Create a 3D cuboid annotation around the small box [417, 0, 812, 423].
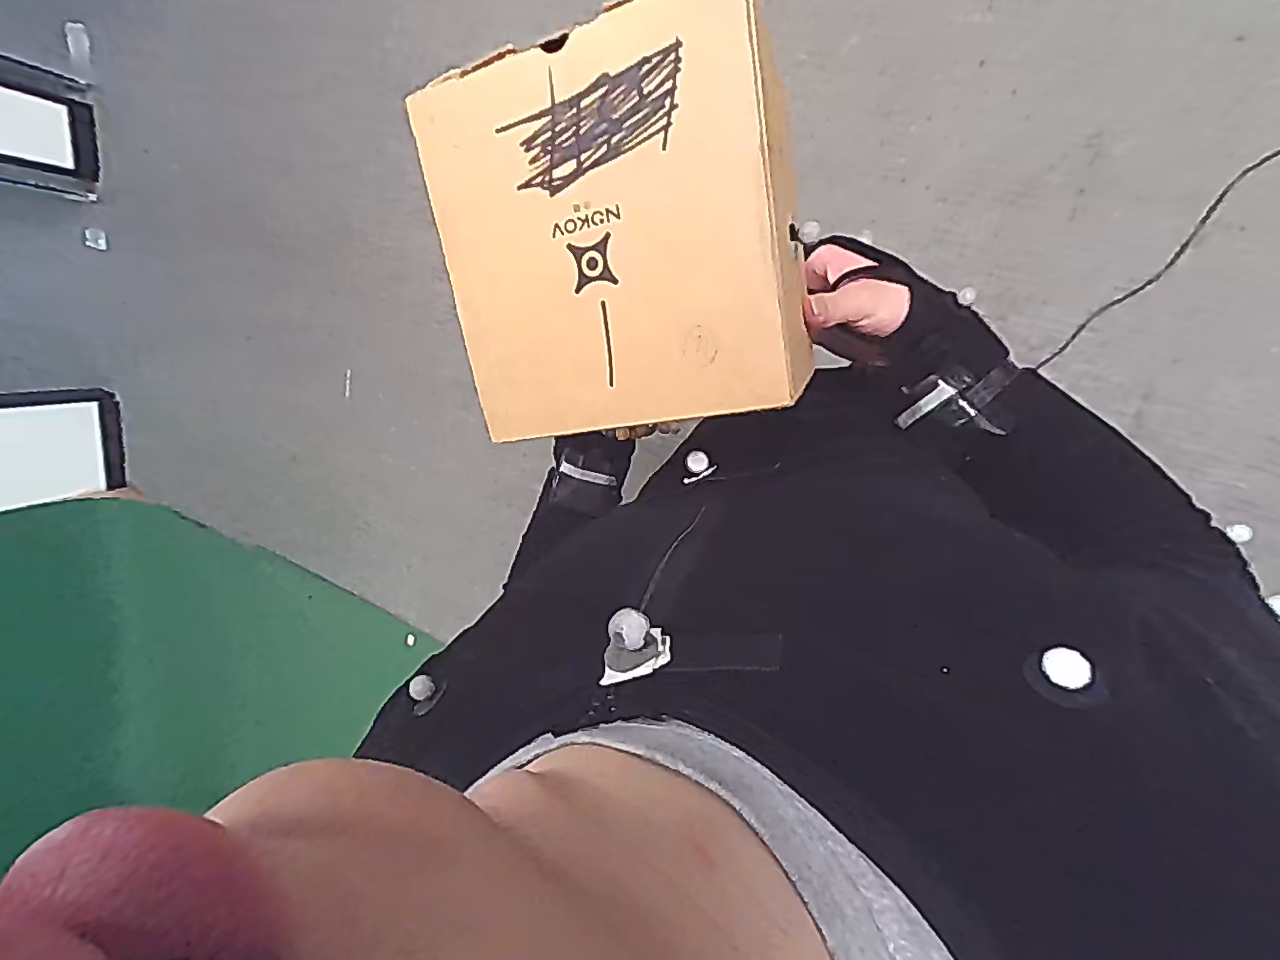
[{"bbox_3d":[0.007,-0.140,0.323,0.168,0.176,0.179,-4,105,23],"label":"small box"}]
